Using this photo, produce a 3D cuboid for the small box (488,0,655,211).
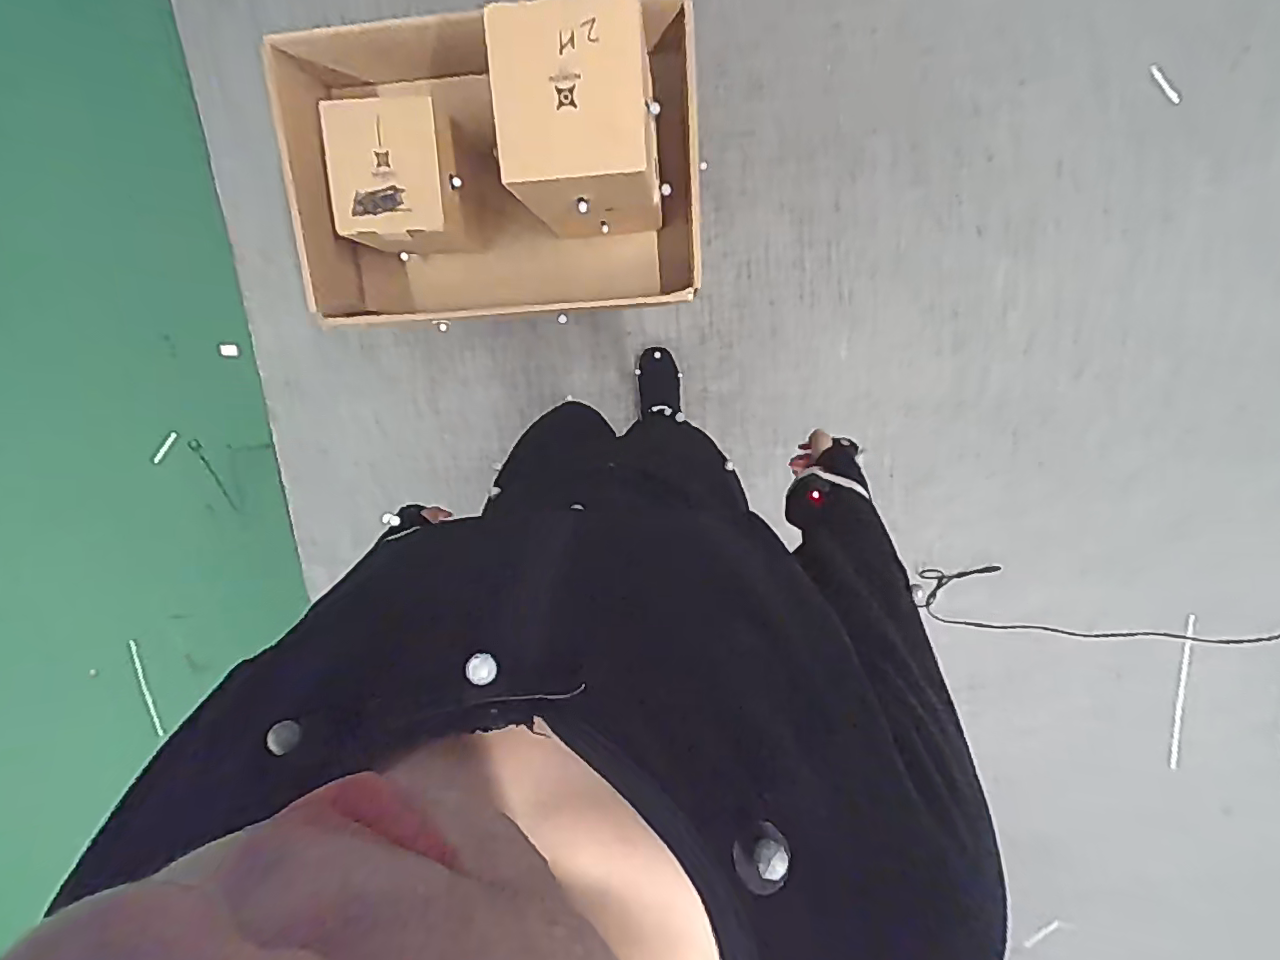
[{"bbox_3d":[-0.069,-0.438,0.658,0.168,0.176,0.179,-1,103,5],"label":"small box"}]
